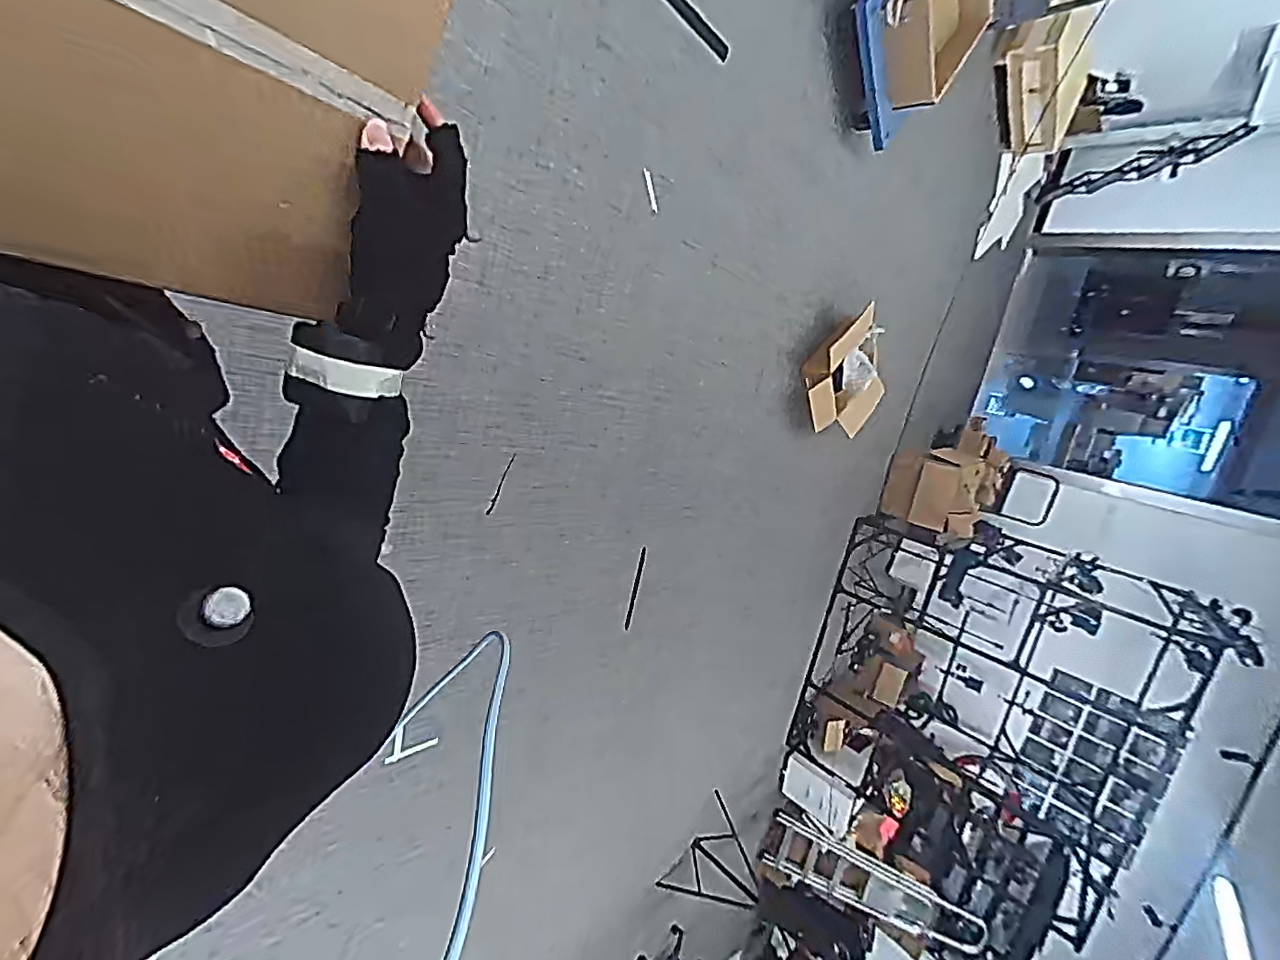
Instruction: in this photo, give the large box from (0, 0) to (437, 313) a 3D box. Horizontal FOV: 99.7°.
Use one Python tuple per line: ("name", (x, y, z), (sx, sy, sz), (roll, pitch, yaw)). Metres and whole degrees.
("large box", (-0.366, -0.343, 0.279), (0.408, 0.320, 0.320), (2, 136, -47))
